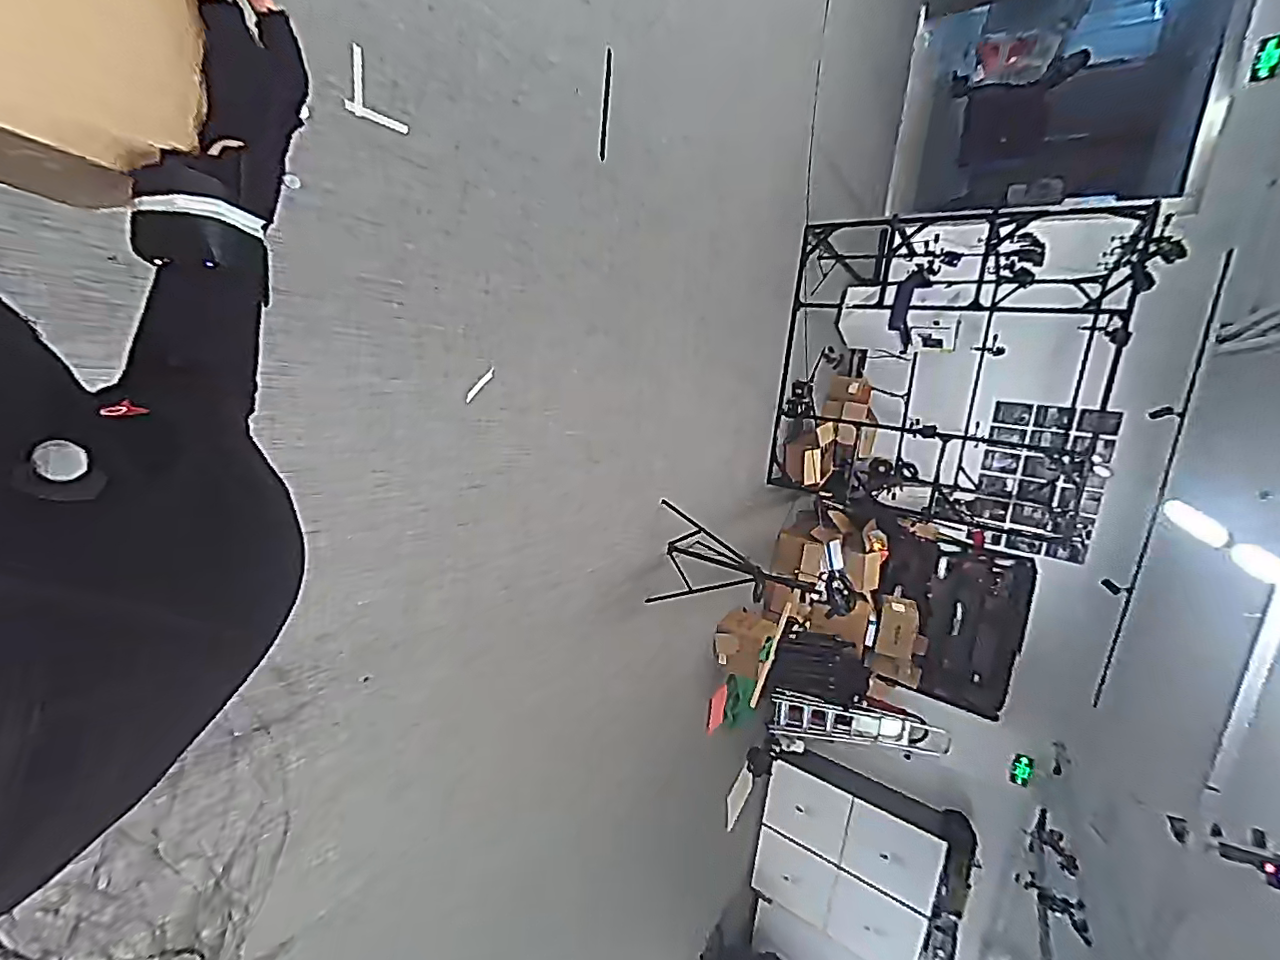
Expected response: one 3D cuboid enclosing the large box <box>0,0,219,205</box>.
[{"bbox_3d":[-0.548,-0.408,0.320,0.408,0.320,0.320,4,101,-58],"label":"large box"}]
